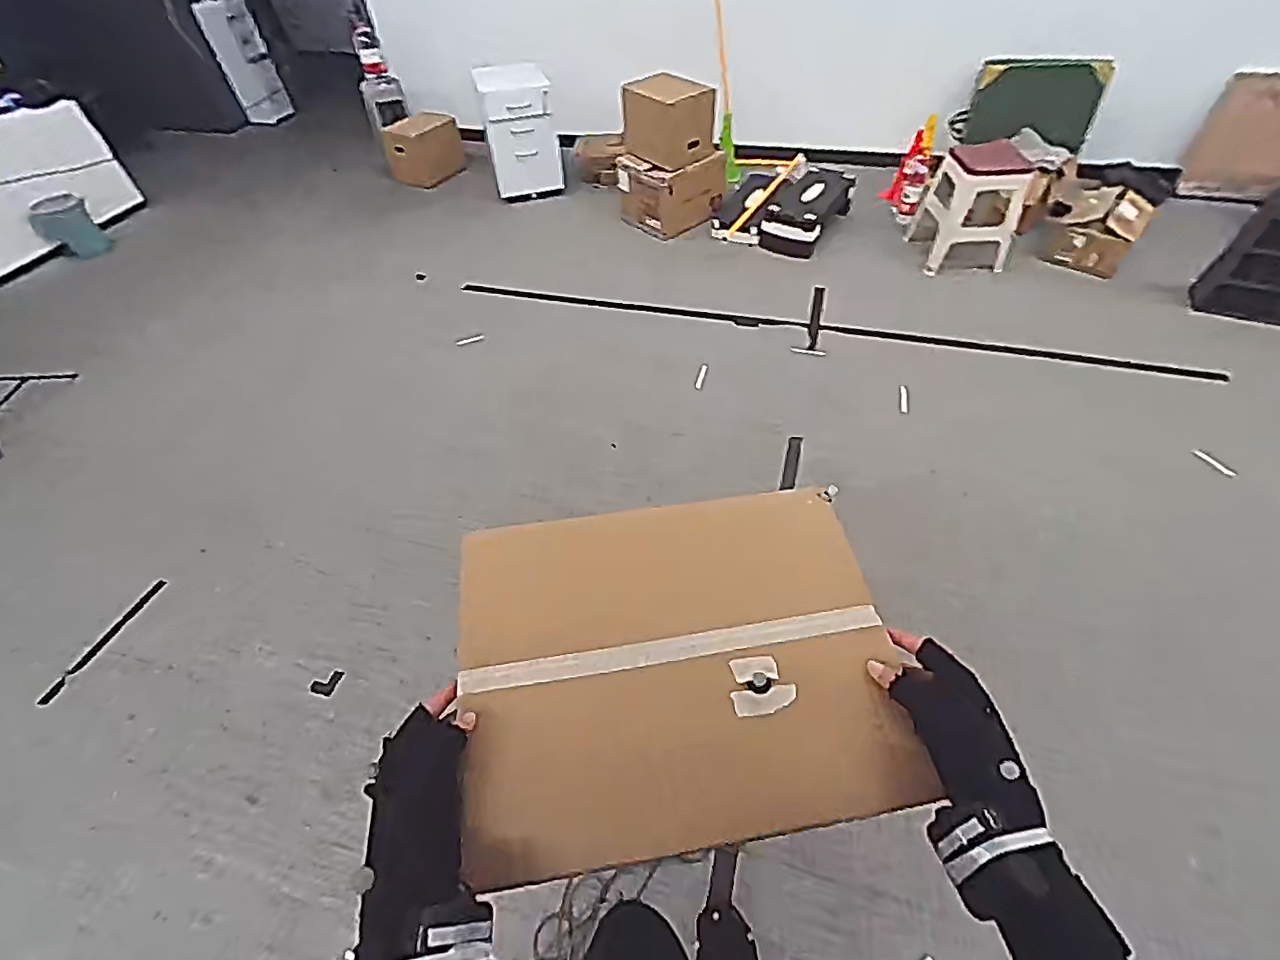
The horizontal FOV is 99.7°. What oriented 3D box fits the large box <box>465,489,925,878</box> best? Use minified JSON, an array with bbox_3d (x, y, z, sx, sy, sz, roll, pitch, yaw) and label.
[{"bbox_3d":[0.027,0.246,0.653,0.408,0.320,0.320,-8,57,-7],"label":"large box"}]
